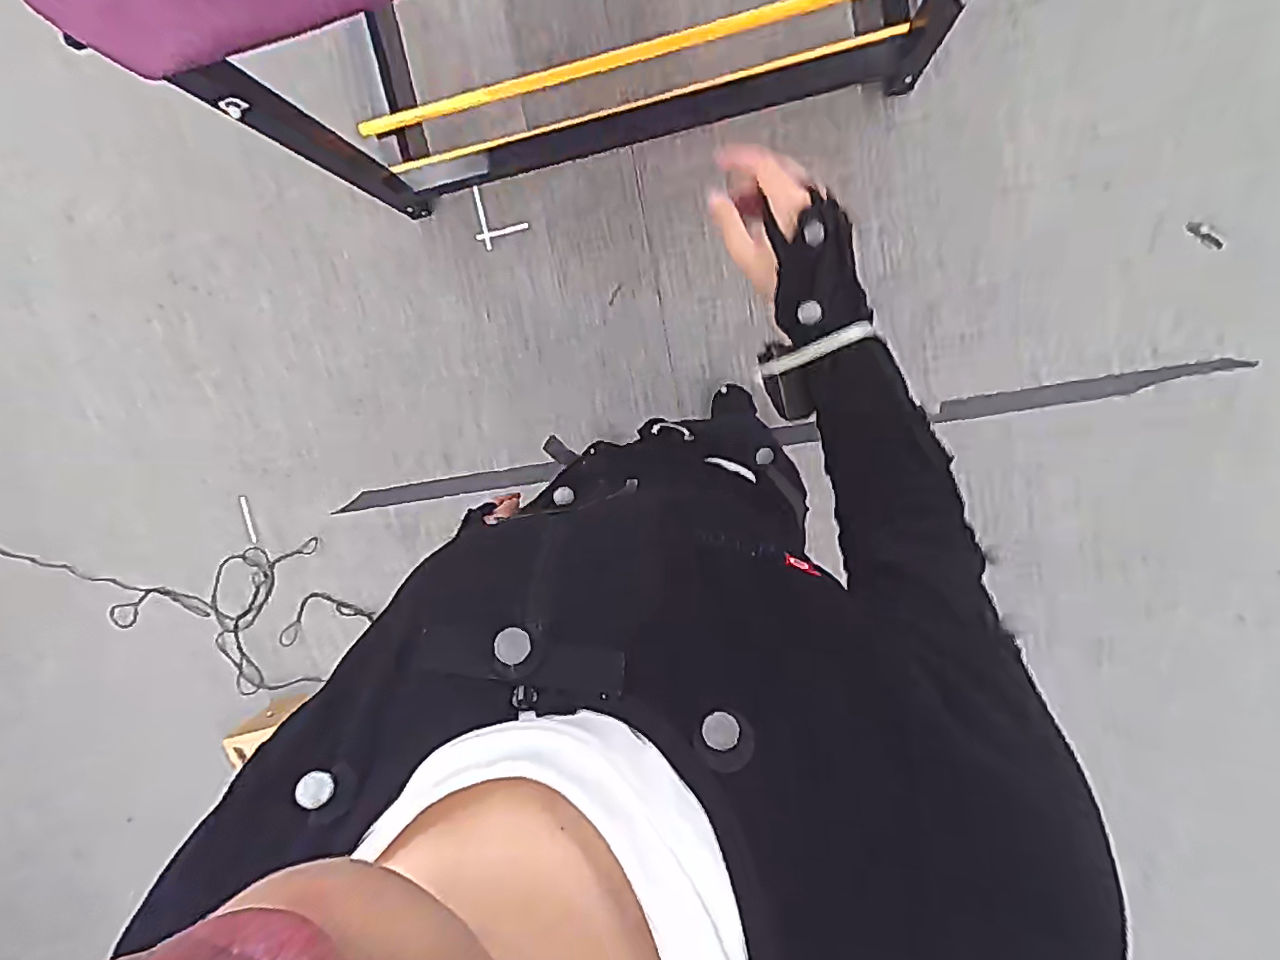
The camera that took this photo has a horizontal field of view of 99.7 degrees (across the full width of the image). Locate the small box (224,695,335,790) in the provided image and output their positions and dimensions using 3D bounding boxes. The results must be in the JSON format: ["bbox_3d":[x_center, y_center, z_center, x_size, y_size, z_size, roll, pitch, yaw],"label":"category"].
[{"bbox_3d":[-1.026,0.749,1.553,0.179,0.176,0.168,-16,98,9],"label":"small box"}]
